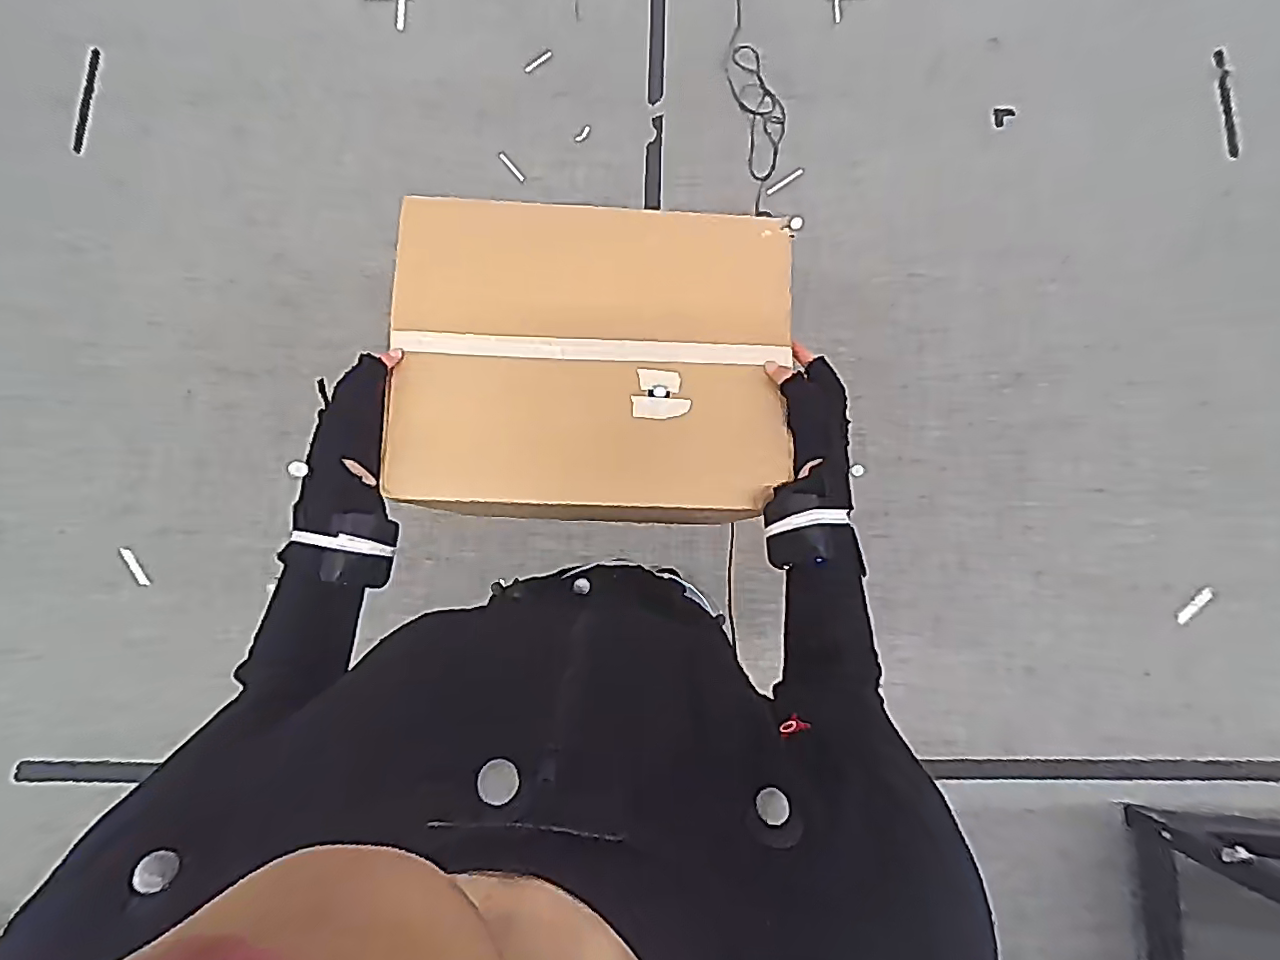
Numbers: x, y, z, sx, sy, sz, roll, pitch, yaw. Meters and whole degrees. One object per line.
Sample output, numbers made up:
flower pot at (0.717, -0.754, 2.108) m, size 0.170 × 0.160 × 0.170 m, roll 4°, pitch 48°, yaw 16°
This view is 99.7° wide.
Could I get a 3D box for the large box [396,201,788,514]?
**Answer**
large box at (-0.053, -0.120, 0.709) m, size 0.408 × 0.320 × 0.320 m, roll 2°, pitch 84°, yaw -4°
